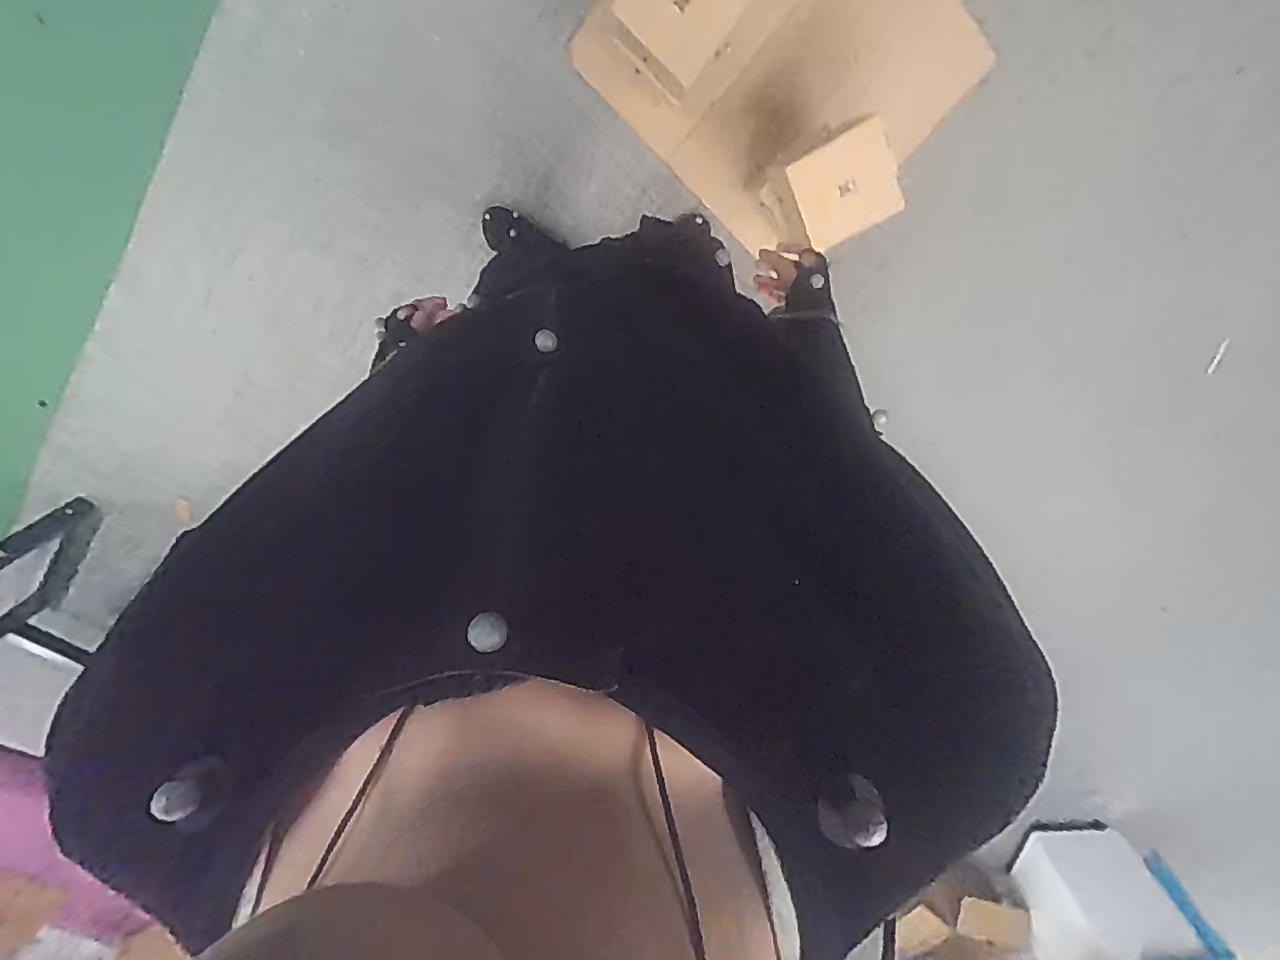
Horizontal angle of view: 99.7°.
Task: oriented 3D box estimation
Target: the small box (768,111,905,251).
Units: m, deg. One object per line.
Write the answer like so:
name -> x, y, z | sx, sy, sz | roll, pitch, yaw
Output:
small box -> 0.366, -0.565, 1.027 | 0.179, 0.176, 0.168 | -25, 118, 12

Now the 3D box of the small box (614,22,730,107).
small box -> 0.068, -0.865, 1.046 | 0.168, 0.176, 0.179 | 36, 112, -19

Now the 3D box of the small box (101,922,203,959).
small box -> -1.321, 1.312, 1.425 | 0.168, 0.176, 0.179 | -32, 114, 14

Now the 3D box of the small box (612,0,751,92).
small box -> 0.072, -0.790, 0.899 | 0.168, 0.176, 0.179 | 36, 112, -20

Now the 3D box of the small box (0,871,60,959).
small box -> -1.569, 1.072, 1.290 | 0.179, 0.176, 0.168 | 38, 110, -21
